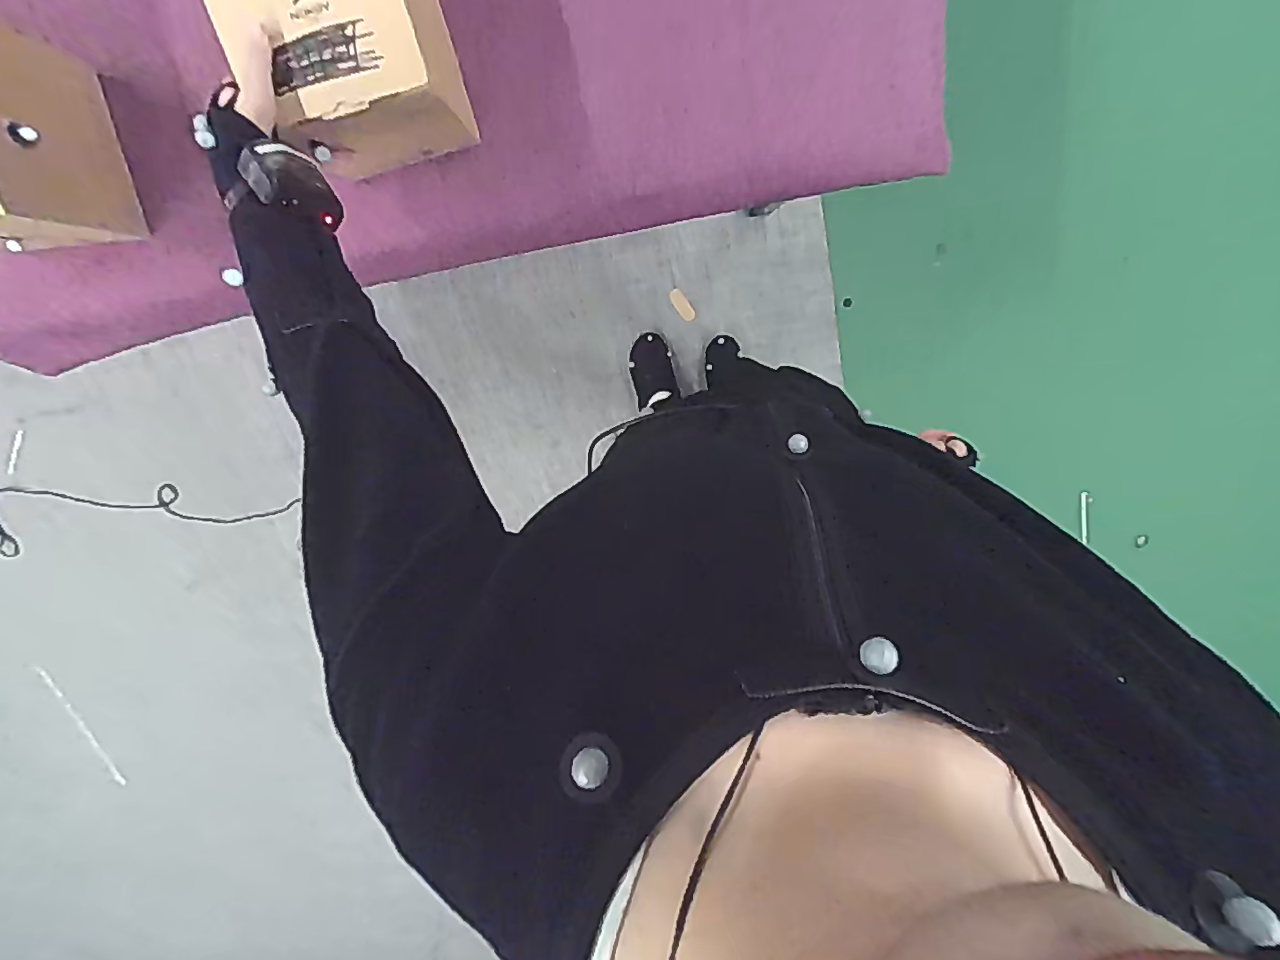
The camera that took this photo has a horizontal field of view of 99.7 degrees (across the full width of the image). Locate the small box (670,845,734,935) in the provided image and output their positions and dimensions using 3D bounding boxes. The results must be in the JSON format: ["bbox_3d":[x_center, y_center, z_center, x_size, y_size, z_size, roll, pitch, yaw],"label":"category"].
[{"bbox_3d":[0.205,1.380,1.836,0.168,0.176,0.179,-16,107,3],"label":"small box"}]

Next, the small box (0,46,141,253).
[{"bbox_3d":[-0.672,-0.331,0.546,0.168,0.176,0.179,-5,107,-1],"label":"small box"}]
